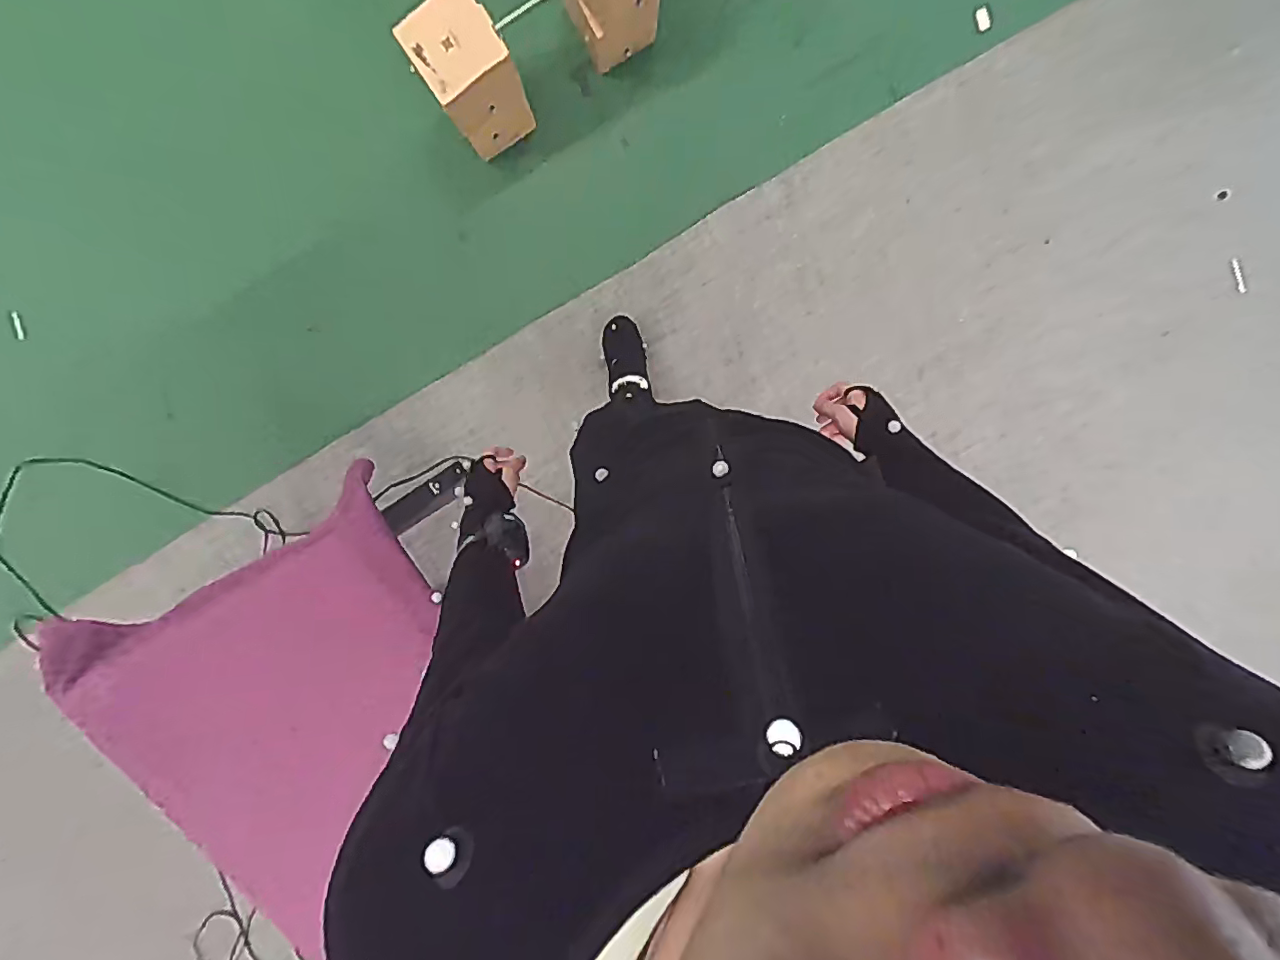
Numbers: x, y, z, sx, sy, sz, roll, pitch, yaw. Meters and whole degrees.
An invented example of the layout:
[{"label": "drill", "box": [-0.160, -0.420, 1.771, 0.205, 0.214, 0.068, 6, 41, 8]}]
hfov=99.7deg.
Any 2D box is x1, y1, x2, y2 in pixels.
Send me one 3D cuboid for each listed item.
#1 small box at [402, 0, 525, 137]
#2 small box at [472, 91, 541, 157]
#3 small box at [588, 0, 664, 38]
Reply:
[{"label": "small box", "box": [-0.367, -0.893, 1.168, 0.179, 0.176, 0.168, -33, 100, 6]}, {"label": "small box", "box": [-0.364, -0.929, 1.327, 0.168, 0.176, 0.179, -31, 100, 6]}, {"label": "small box", "box": [-0.044, -1.092, 1.126, 0.168, 0.176, 0.179, -38, 101, 8]}]
